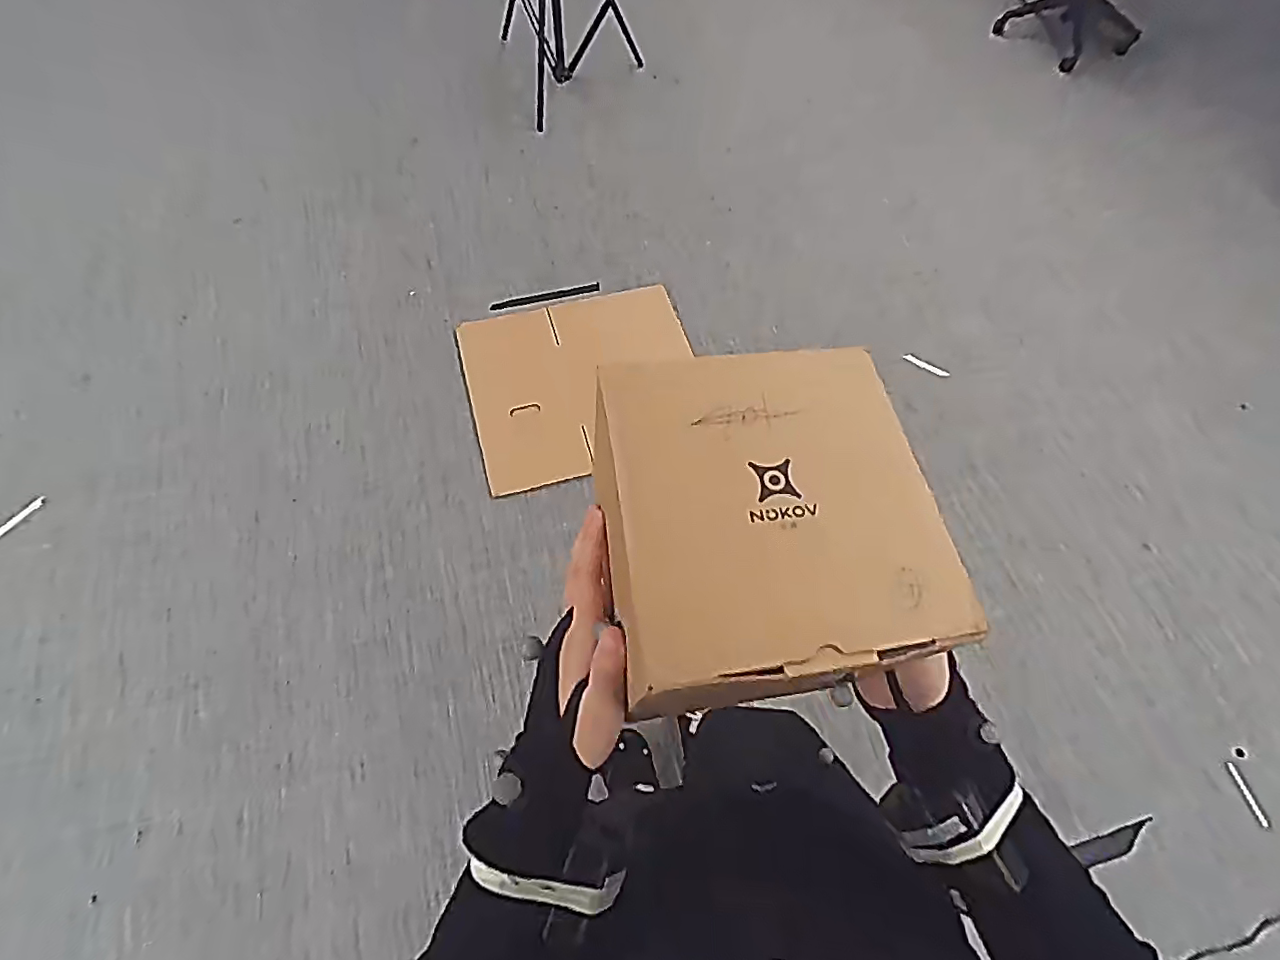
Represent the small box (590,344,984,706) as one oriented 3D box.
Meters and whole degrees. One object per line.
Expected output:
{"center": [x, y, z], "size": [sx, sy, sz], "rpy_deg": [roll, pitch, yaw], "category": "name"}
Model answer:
{"center": [0.060, 0.039, 0.346], "size": [0.168, 0.176, 0.179], "rpy_deg": [-6, 62, -11], "category": "small box"}
